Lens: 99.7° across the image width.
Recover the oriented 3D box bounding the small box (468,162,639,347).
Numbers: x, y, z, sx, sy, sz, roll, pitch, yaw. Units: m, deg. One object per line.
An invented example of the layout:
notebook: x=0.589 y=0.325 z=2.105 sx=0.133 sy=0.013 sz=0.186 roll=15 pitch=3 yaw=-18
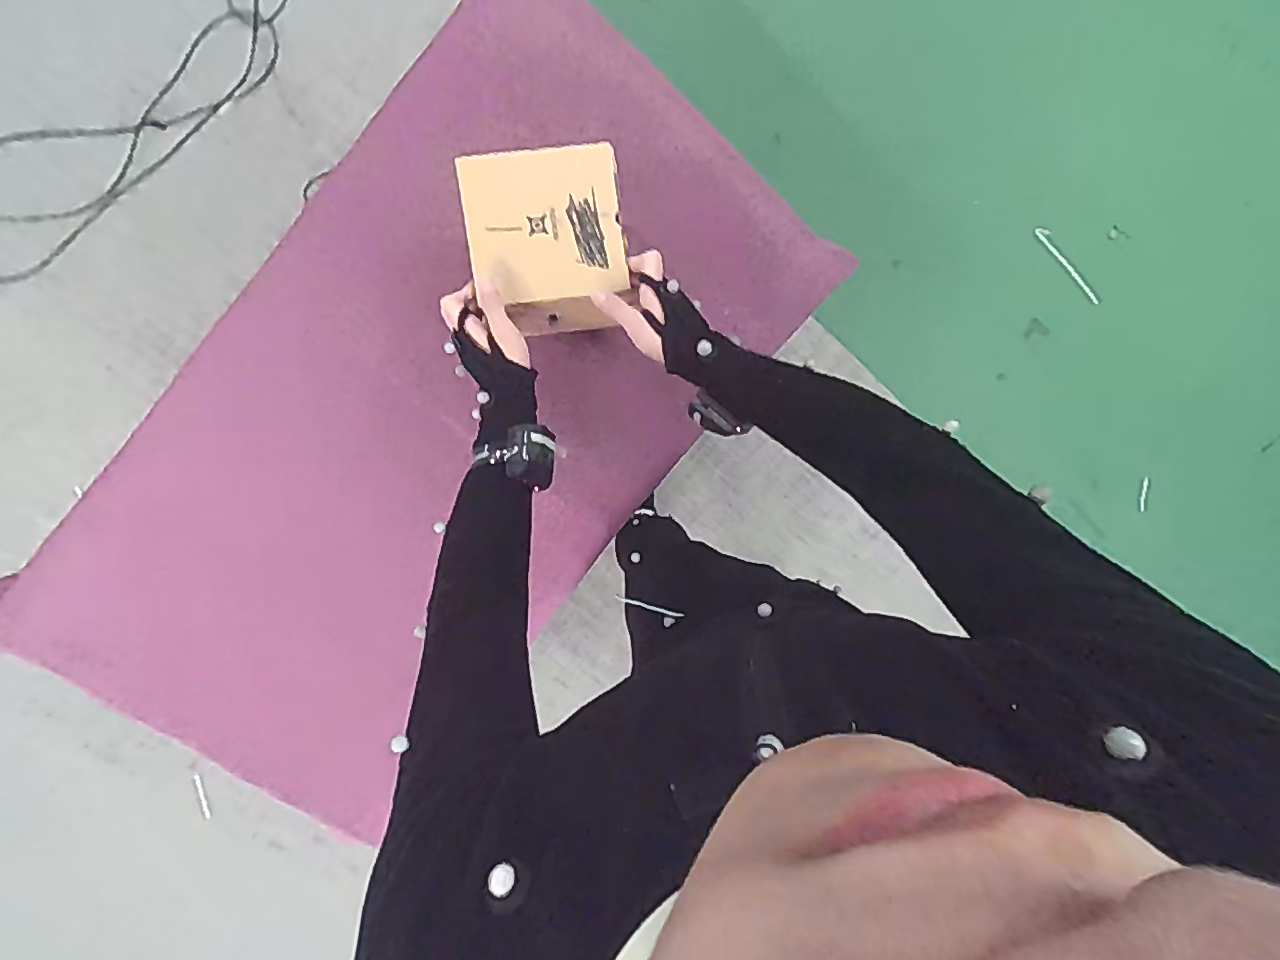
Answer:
small box: x=-0.103 y=-0.269 z=0.678 sx=0.179 sy=0.176 sz=0.168 roll=-7 pitch=93 yaw=-5
